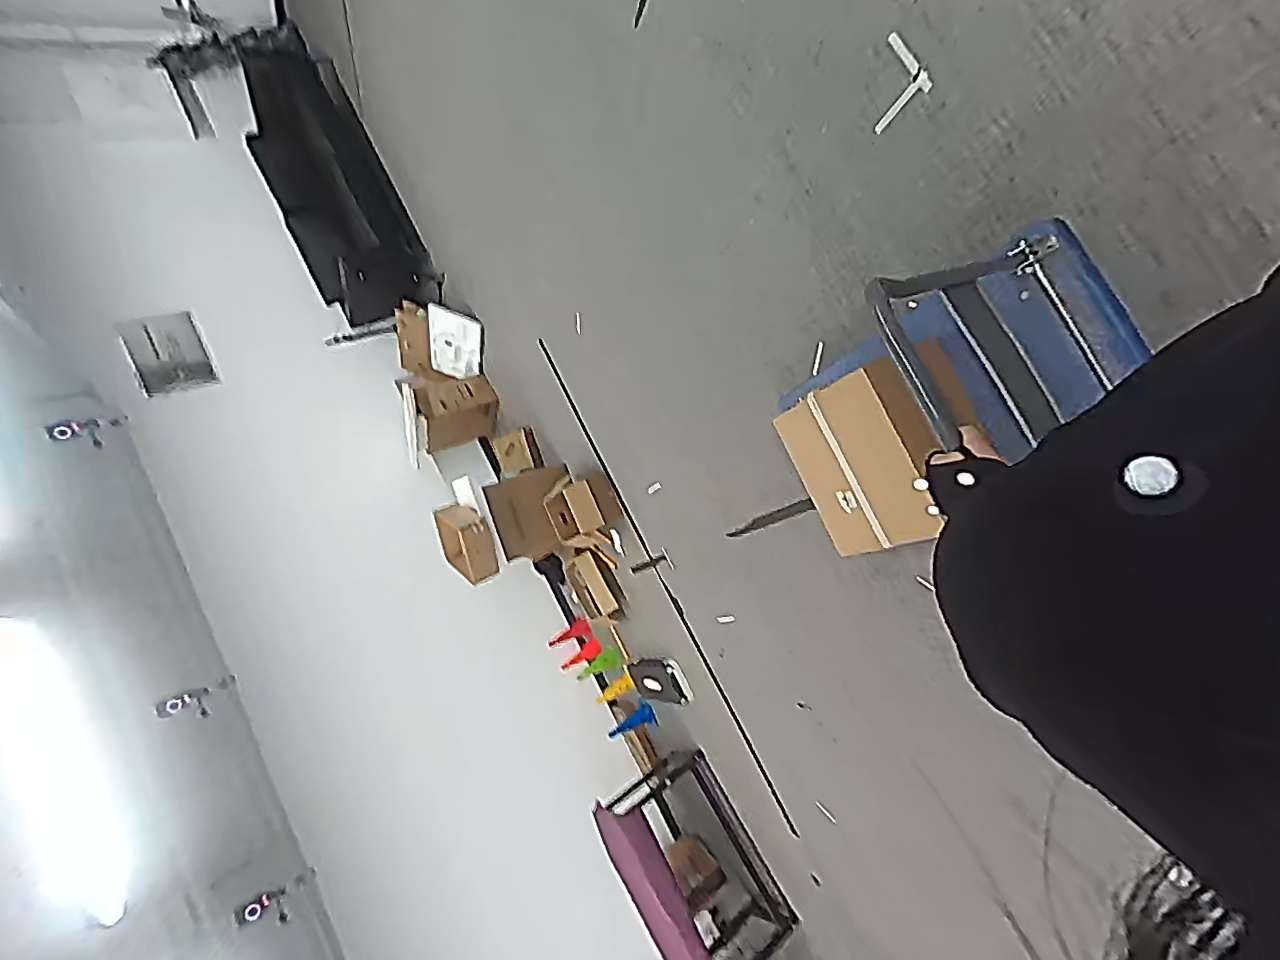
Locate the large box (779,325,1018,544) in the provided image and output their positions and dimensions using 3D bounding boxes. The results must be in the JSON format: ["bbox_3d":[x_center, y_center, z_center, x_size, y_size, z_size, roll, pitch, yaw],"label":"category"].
[{"bbox_3d":[0.632,-0.108,1.346,0.408,0.320,0.320,63,151,3],"label":"large box"}]
